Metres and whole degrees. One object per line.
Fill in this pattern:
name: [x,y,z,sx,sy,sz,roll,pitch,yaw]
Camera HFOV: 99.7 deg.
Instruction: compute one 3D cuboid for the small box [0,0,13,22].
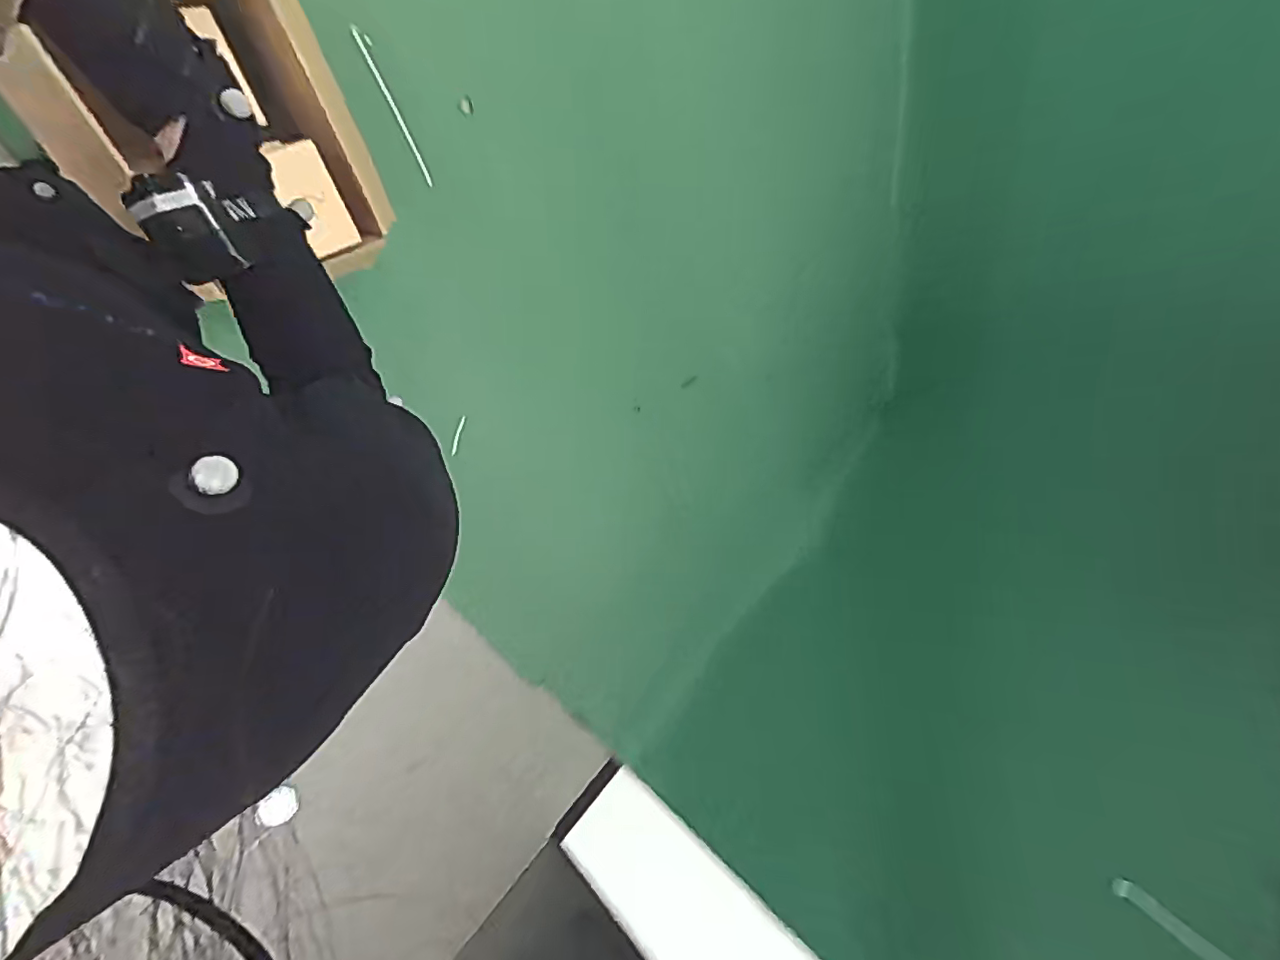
small box: [-0.378,-0.293,0.191,0.168,0.176,0.179,-20,121,-46]
